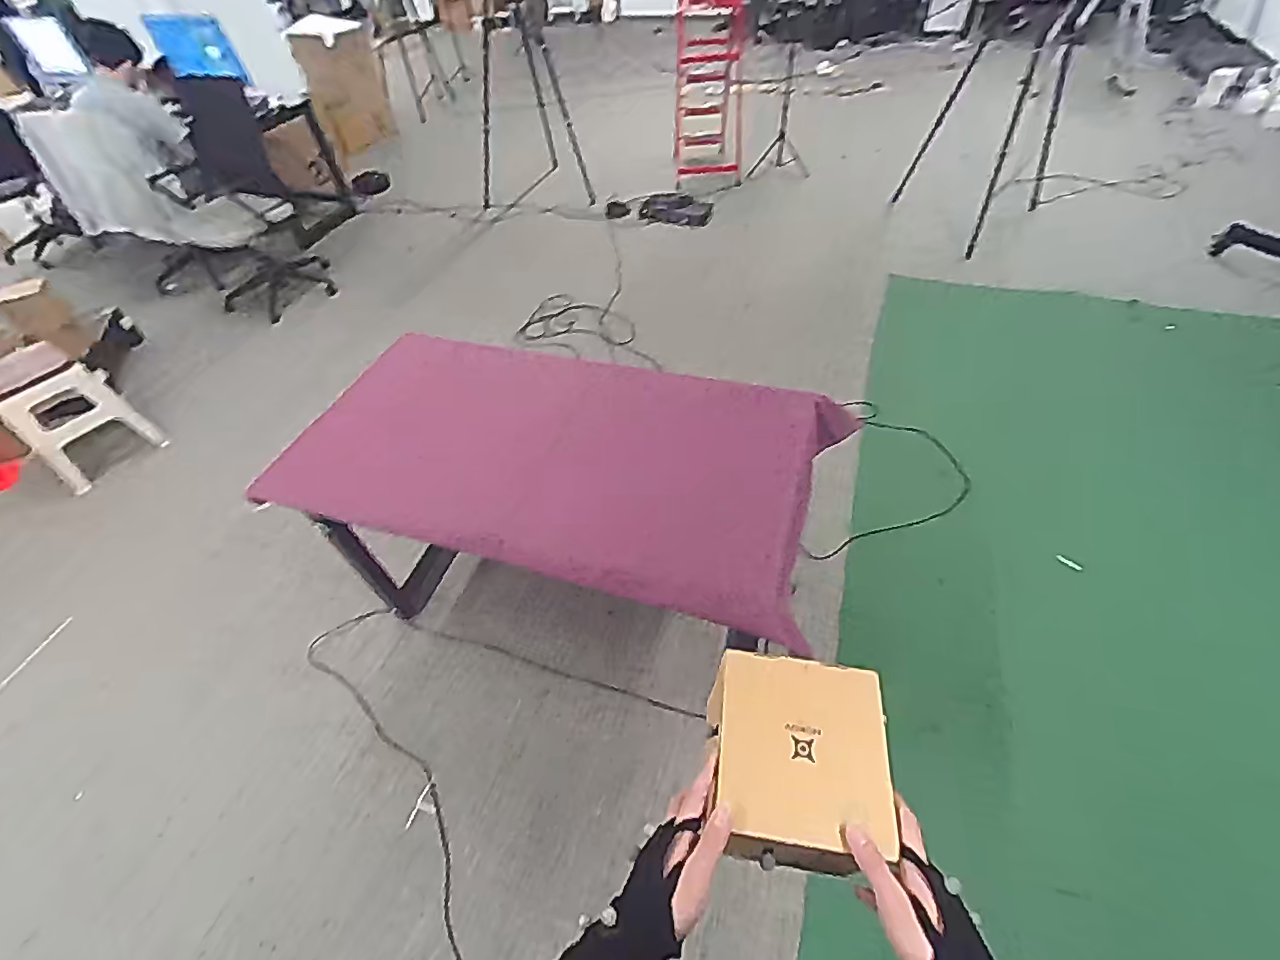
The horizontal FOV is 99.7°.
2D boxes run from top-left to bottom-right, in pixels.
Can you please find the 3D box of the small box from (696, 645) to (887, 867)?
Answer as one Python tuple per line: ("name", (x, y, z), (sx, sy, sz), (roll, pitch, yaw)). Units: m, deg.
("small box", (0.154, 0.308, 0.599), (0.168, 0.176, 0.179), (6, 50, 5))
